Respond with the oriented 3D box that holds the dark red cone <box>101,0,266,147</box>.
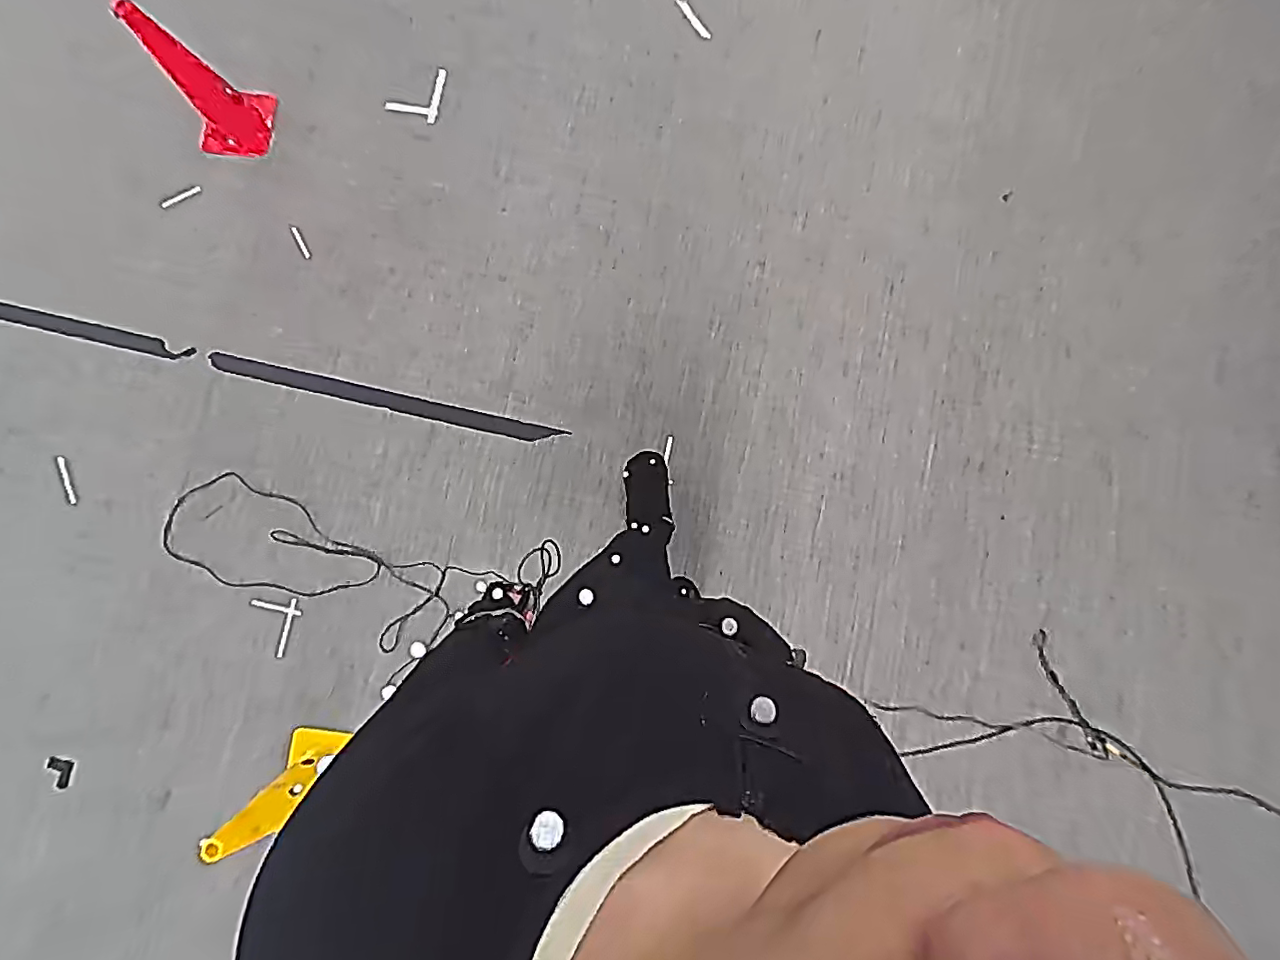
[{"bbox_3d":[-1.182,-1.061,1.380,0.202,0.394,0.201,5,84,3],"label":"dark red cone"}]
